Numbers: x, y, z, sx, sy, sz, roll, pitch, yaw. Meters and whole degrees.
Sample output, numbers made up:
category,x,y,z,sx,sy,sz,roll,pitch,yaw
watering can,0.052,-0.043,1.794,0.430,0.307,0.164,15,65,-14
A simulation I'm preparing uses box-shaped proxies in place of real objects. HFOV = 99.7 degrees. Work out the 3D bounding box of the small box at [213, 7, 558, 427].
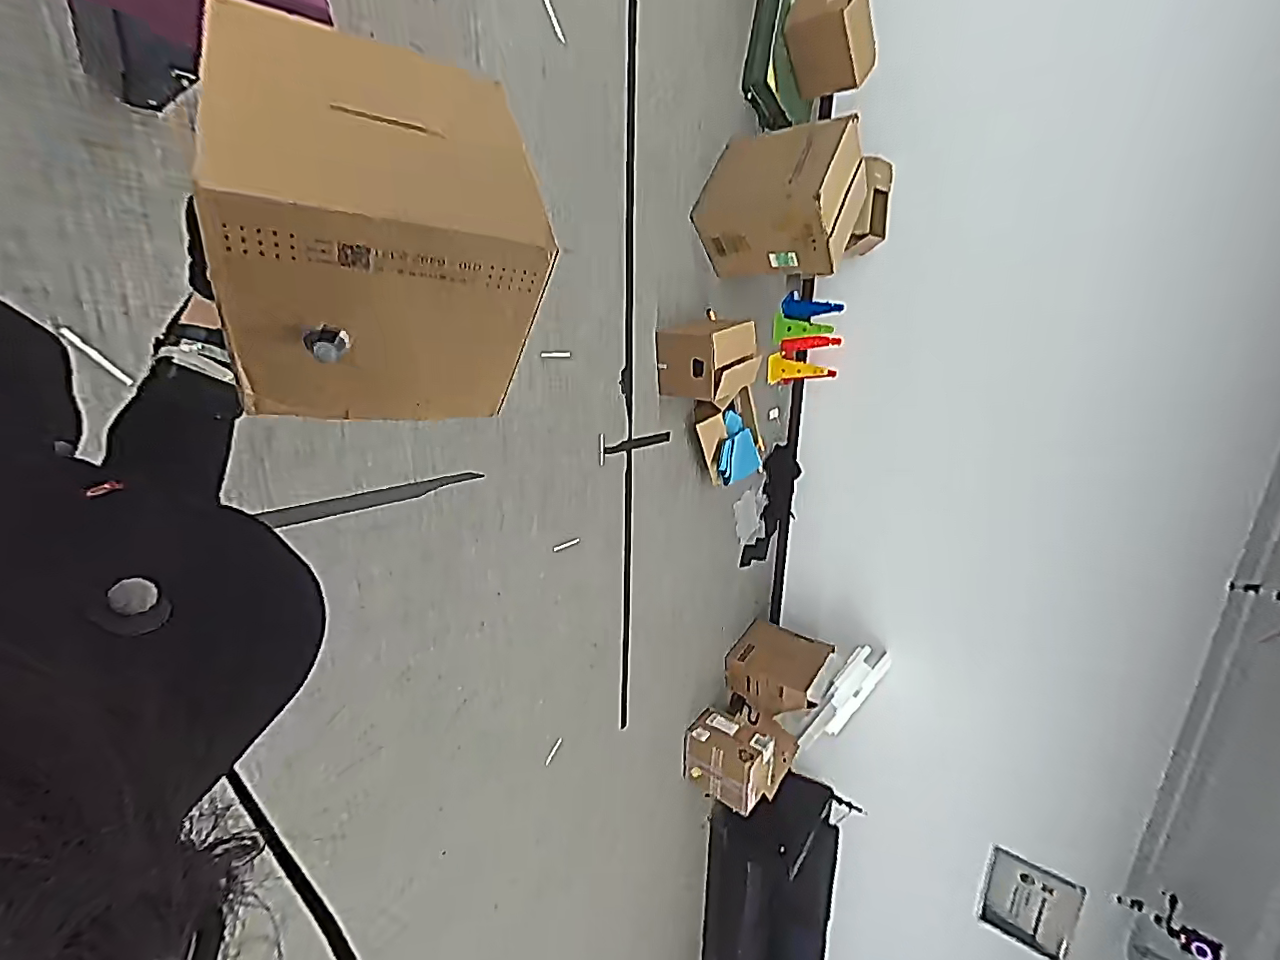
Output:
category,x,y,z,sx,sy,sz,roll,pitch,yaw
small box,-0.167,-0.154,0.358,0.168,0.176,0.179,-1,60,-32
